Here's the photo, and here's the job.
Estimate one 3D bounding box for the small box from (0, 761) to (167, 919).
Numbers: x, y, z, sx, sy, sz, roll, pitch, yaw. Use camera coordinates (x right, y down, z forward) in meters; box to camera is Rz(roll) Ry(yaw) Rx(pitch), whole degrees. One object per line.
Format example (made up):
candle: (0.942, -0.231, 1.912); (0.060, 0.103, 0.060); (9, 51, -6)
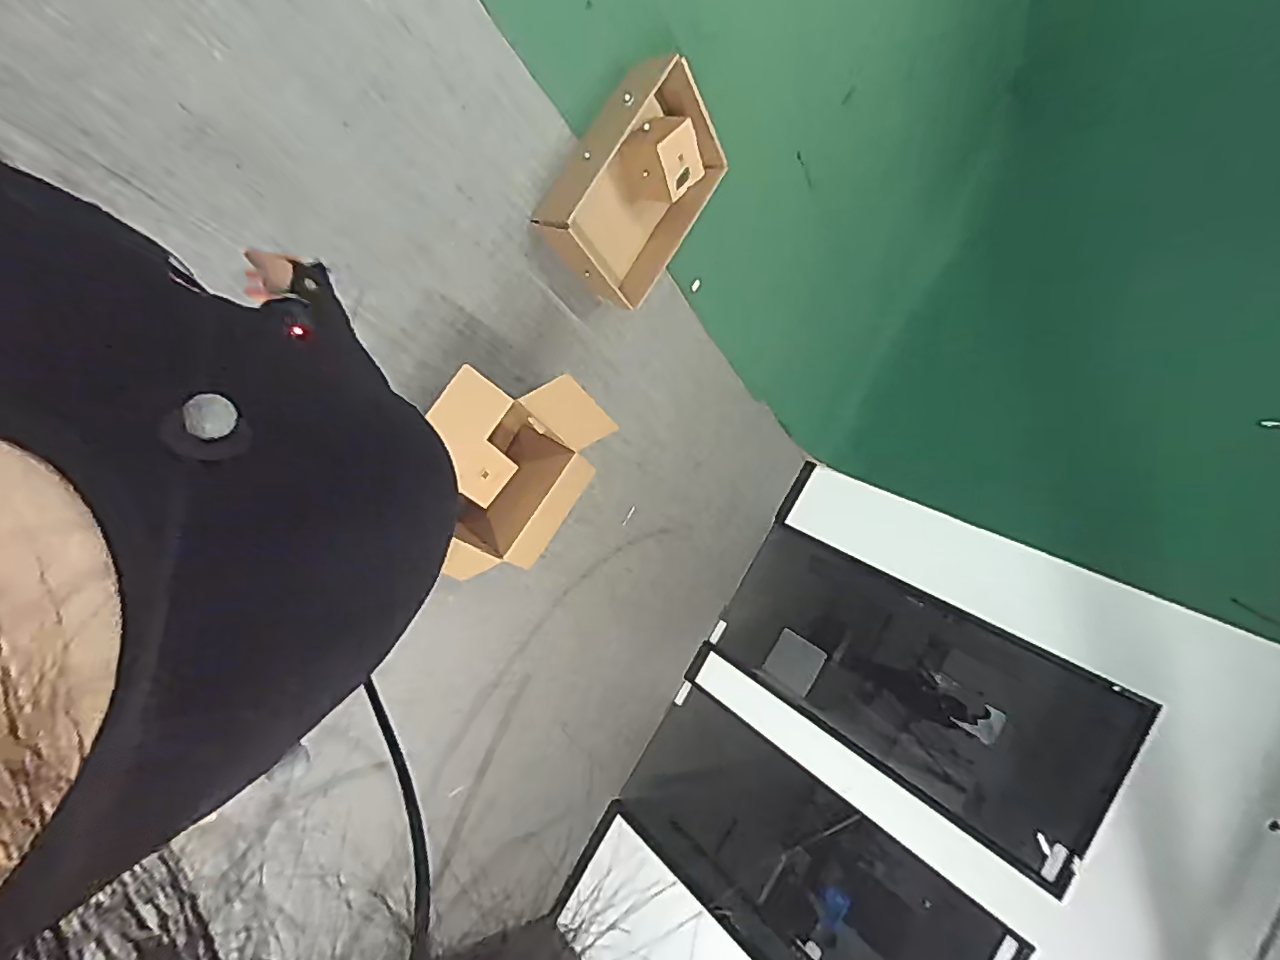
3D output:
small box: (-1.056, 0.666, 1.011); (0.179, 0.176, 0.168); (-48, 140, -22)

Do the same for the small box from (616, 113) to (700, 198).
small box: (0.057, -1.018, 1.691); (0.168, 0.176, 0.179); (-49, 142, -16)
